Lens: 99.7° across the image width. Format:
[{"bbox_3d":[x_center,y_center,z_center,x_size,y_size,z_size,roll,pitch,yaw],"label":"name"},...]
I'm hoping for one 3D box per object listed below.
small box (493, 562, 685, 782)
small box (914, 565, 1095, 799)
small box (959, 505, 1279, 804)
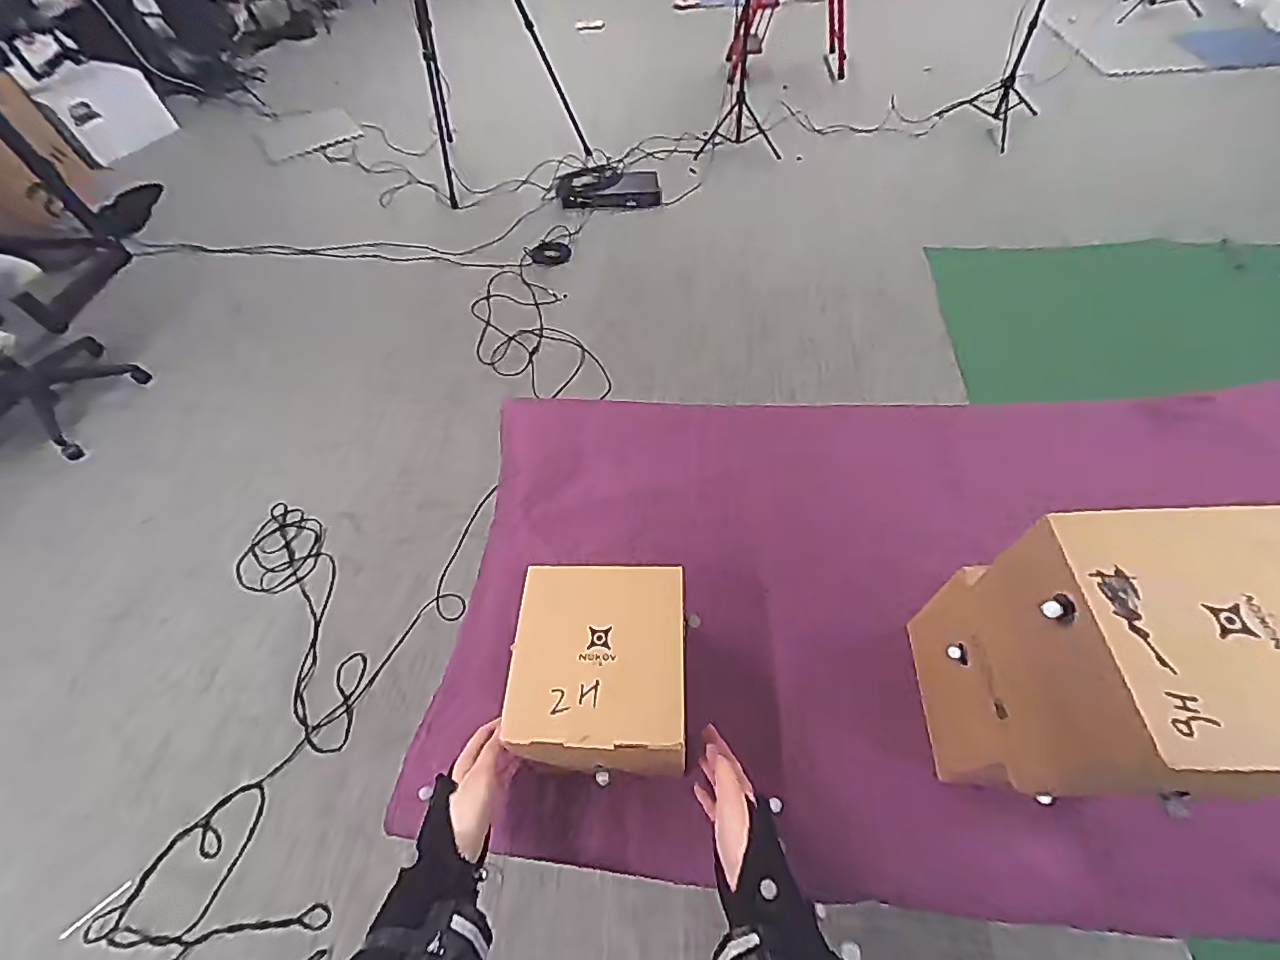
[{"bbox_3d":[-0.037,0.205,0.574,0.168,0.176,0.179,0,53,5],"label":"small box"},{"bbox_3d":[0.397,0.204,0.541,0.168,0.176,0.179,1,55,6],"label":"small box"},{"bbox_3d":[0.375,0.131,0.393,0.179,0.176,0.168,-1,55,4],"label":"small box"}]
